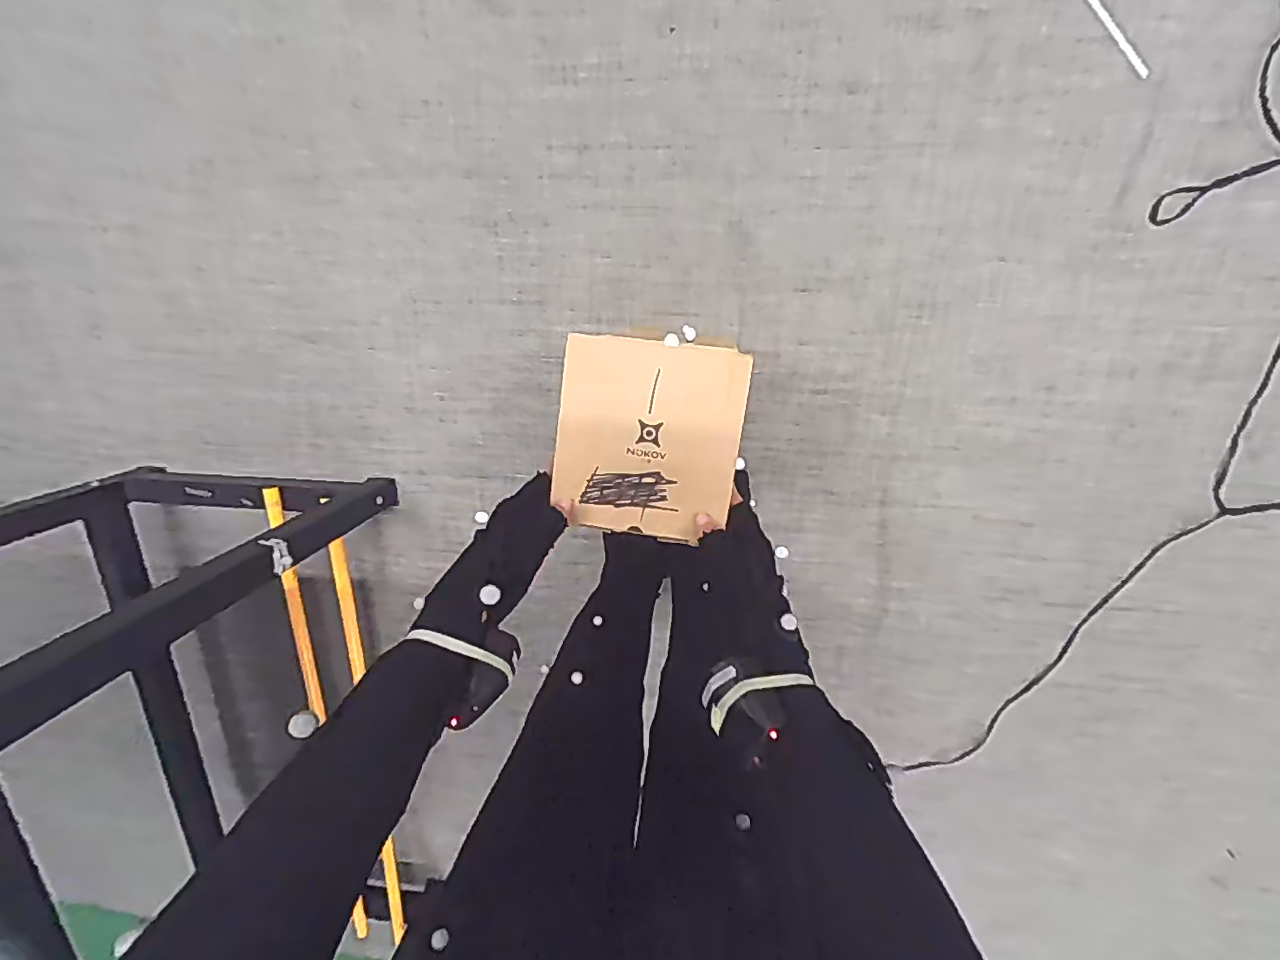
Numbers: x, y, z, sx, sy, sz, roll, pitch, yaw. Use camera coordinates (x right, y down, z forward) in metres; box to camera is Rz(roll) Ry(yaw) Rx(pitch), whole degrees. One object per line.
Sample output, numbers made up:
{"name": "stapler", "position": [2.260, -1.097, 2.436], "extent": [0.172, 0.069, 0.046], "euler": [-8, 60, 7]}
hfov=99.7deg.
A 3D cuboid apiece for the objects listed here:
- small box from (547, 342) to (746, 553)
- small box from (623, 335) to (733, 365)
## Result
{"name": "small box", "position": [0.009, -0.040, 0.571], "extent": [0.168, 0.176, 0.179], "euler": [8, 99, 3]}
{"name": "small box", "position": [0.054, -0.141, 0.893], "extent": [0.168, 0.176, 0.179], "euler": [9, 109, 5]}
